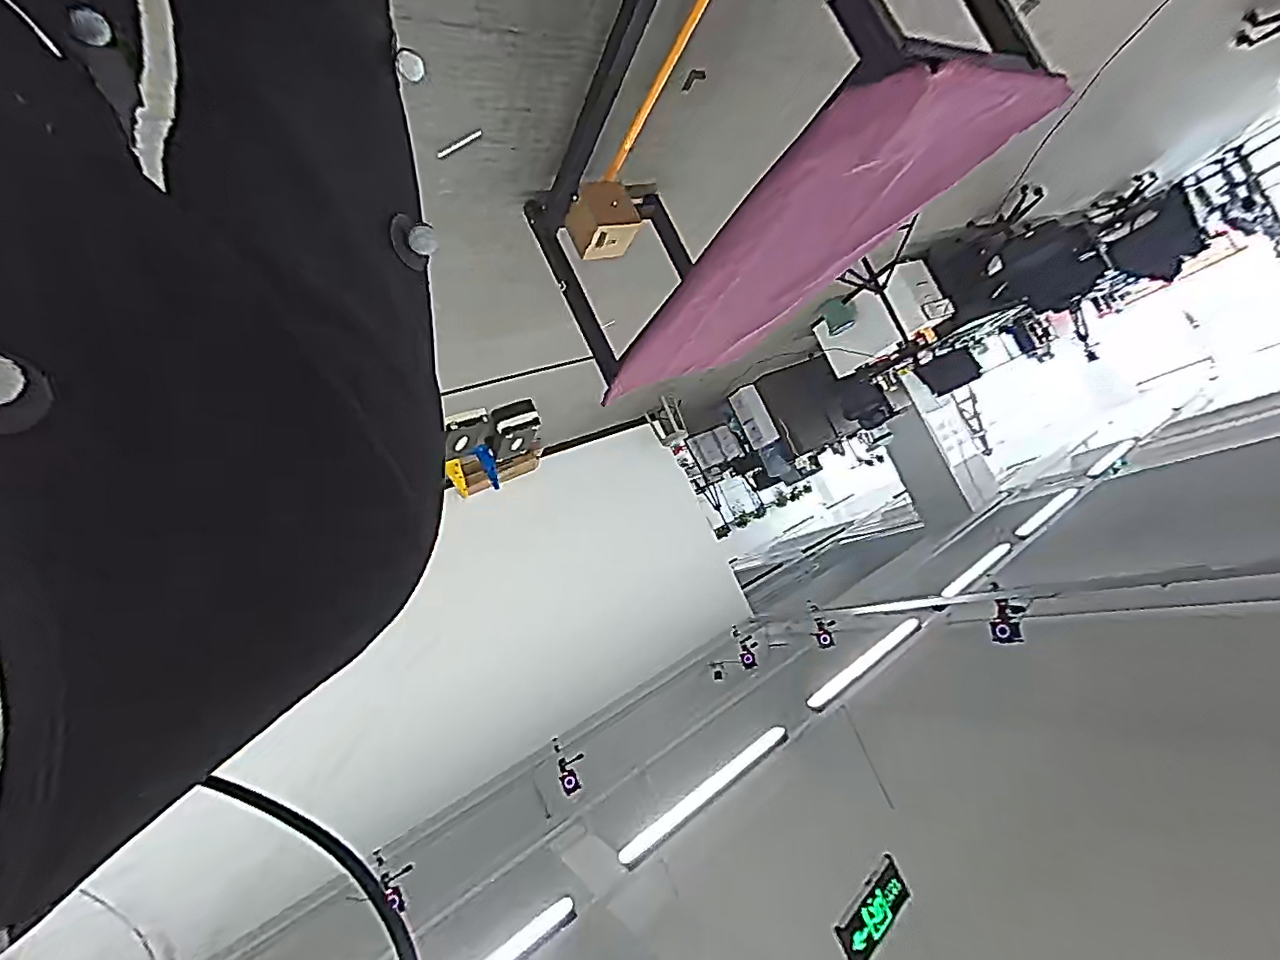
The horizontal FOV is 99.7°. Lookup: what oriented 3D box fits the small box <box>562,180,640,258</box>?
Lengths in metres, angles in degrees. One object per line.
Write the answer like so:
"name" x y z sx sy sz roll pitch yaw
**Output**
"small box" -0.137 -0.867 1.794 0.179 0.176 0.168 -22 173 -32
